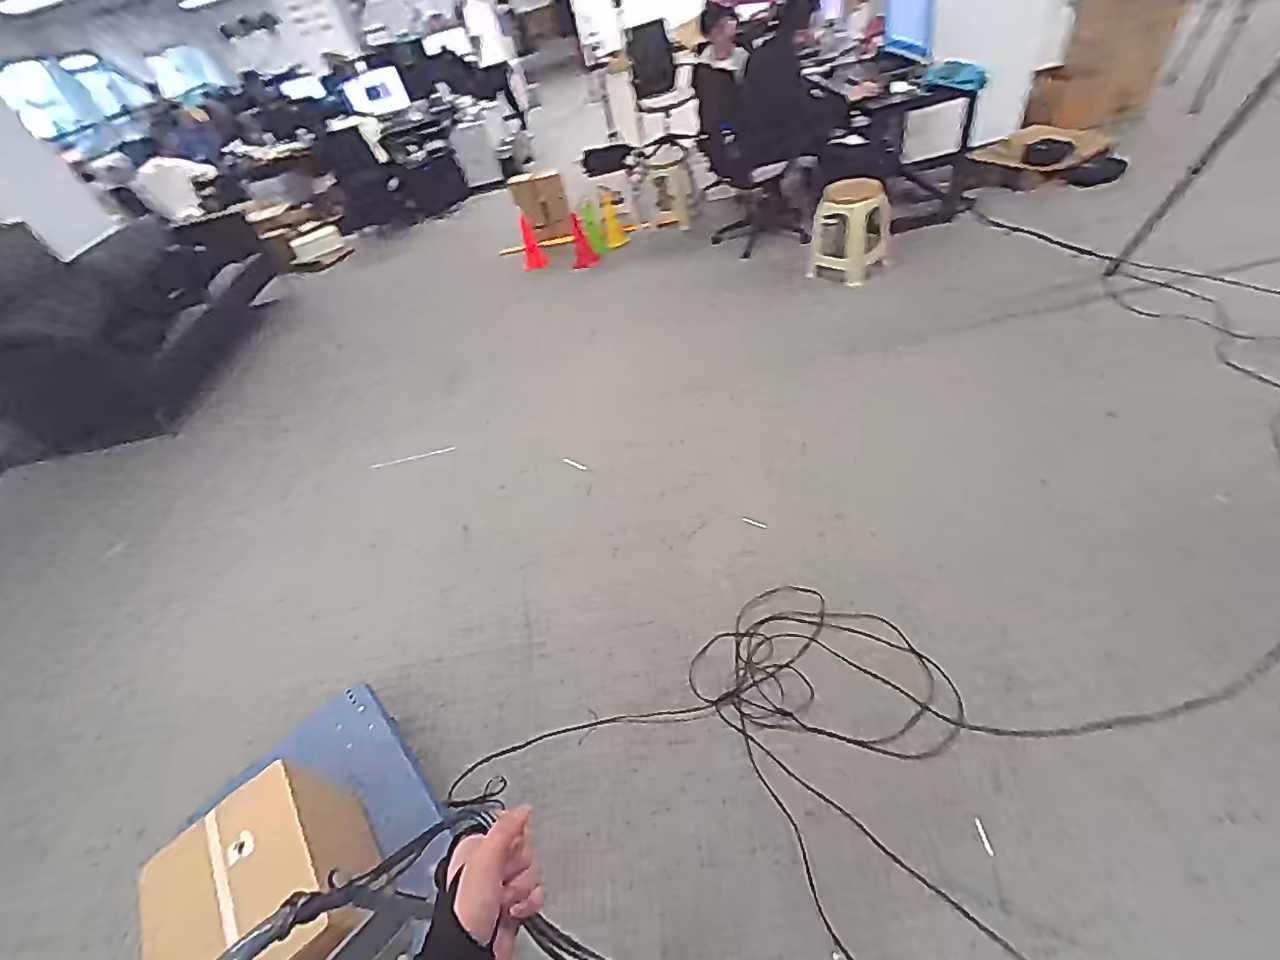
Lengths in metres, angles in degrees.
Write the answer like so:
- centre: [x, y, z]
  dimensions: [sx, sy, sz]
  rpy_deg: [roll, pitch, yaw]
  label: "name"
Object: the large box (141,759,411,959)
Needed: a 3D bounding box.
- centre: [-0.765, 0.907, 1.154]
  dimensions: [0.320, 0.320, 0.408]
  rpy_deg: [-37, 47, -20]
  label: "large box"
